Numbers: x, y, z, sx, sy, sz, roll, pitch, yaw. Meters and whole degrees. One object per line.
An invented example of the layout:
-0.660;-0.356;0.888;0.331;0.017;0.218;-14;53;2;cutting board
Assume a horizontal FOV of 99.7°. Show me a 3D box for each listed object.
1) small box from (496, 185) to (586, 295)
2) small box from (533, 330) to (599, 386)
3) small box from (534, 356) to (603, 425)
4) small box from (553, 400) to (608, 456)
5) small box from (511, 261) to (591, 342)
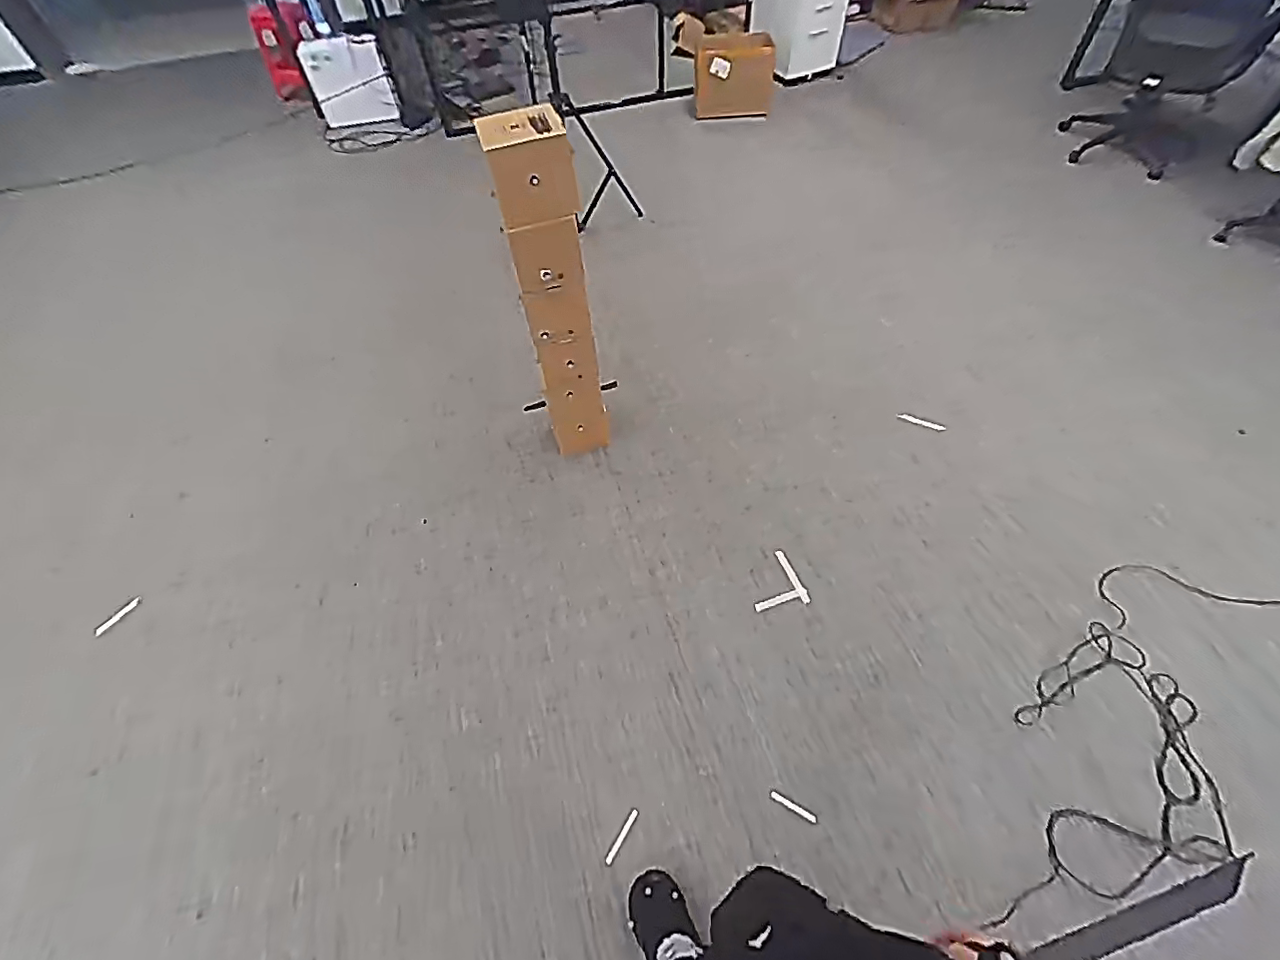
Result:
-0.241;-0.586;1.327;0.168;0.176;0.179;-18;57;-8;small box
-0.224;-0.396;1.591;0.168;0.176;0.179;-15;56;-7;small box
-0.224;-0.298;1.722;0.179;0.176;0.168;-14;56;-6;small box
-0.211;-0.207;1.858;0.179;0.176;0.168;-16;56;-8;small box
-0.236;-0.492;1.458;0.168;0.176;0.179;-15;55;-7;small box
